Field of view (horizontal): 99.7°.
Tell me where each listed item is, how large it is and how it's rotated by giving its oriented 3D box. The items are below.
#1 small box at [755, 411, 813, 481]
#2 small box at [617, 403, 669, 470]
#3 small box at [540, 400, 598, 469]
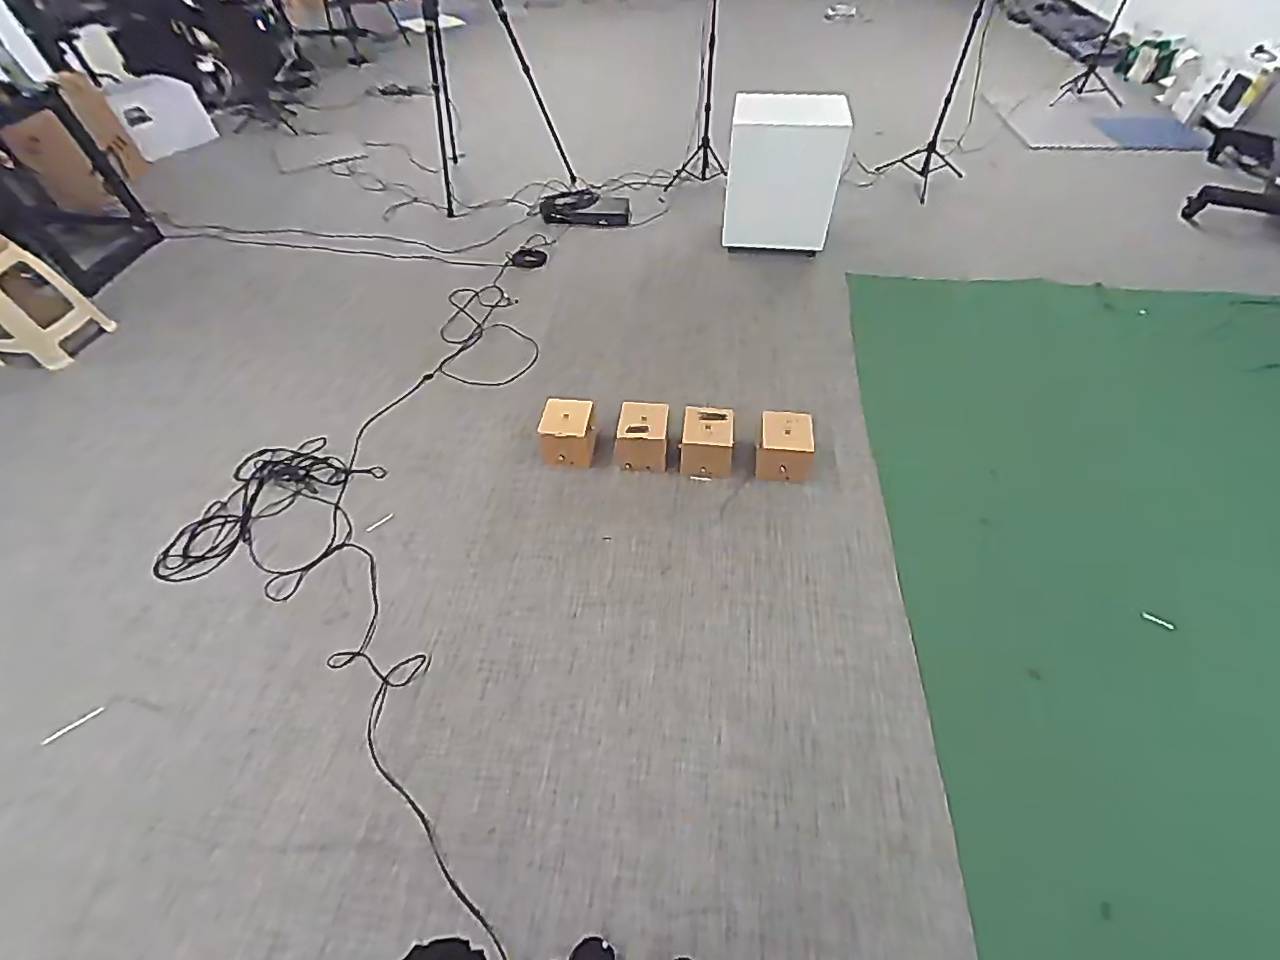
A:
[{"bbox_3d":[0.493,-0.114,1.866,0.168,0.176,0.179,5,51,6],"label":"small box"},{"bbox_3d":[0.016,-0.151,1.914,0.168,0.176,0.179,3,50,6],"label":"small box"},{"bbox_3d":[-0.249,-0.164,1.939,0.168,0.176,0.179,4,51,6],"label":"small box"}]
